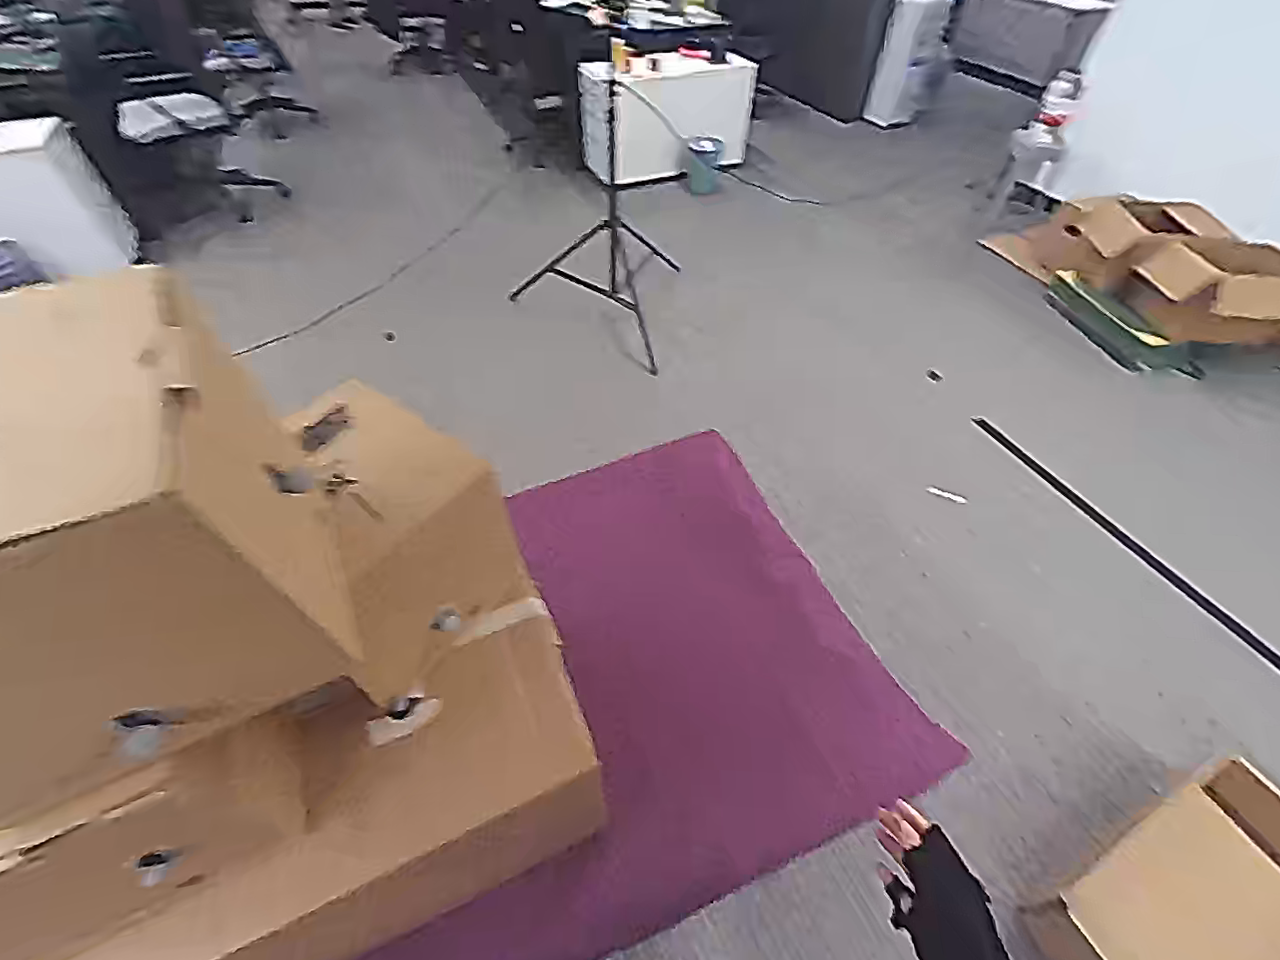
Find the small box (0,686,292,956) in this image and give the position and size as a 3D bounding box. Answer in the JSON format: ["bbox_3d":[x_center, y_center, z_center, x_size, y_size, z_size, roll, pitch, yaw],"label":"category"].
[{"bbox_3d":[-0.354,0.172,0.353,0.168,0.176,0.179,-20,52,-19],"label":"small box"}]

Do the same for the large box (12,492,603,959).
[{"bbox_3d":[-0.282,0.279,0.583,0.408,0.320,0.320,-20,54,-18],"label":"large box"}]

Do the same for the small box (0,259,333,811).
[{"bbox_3d":[-0.275,0.027,0.262,0.179,0.176,0.168,-23,54,-18],"label":"small box"}]
